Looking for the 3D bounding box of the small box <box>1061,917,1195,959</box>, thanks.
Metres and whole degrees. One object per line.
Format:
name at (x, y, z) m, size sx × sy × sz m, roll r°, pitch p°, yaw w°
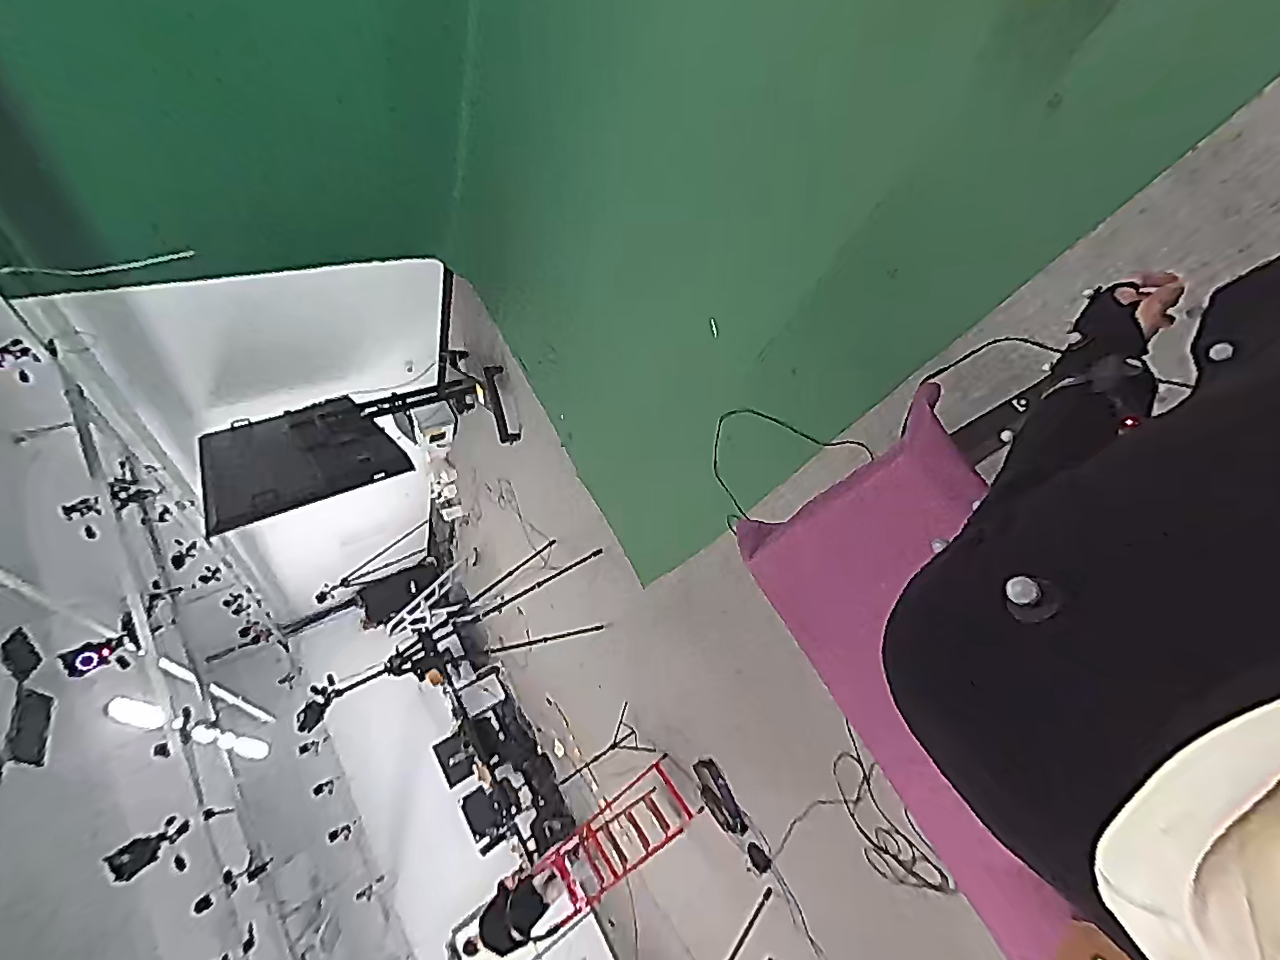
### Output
small box at (0.841, 0.880, 0.902) m, size 0.168 × 0.176 × 0.179 m, roll 58°, pitch 147°, yaw 17°
